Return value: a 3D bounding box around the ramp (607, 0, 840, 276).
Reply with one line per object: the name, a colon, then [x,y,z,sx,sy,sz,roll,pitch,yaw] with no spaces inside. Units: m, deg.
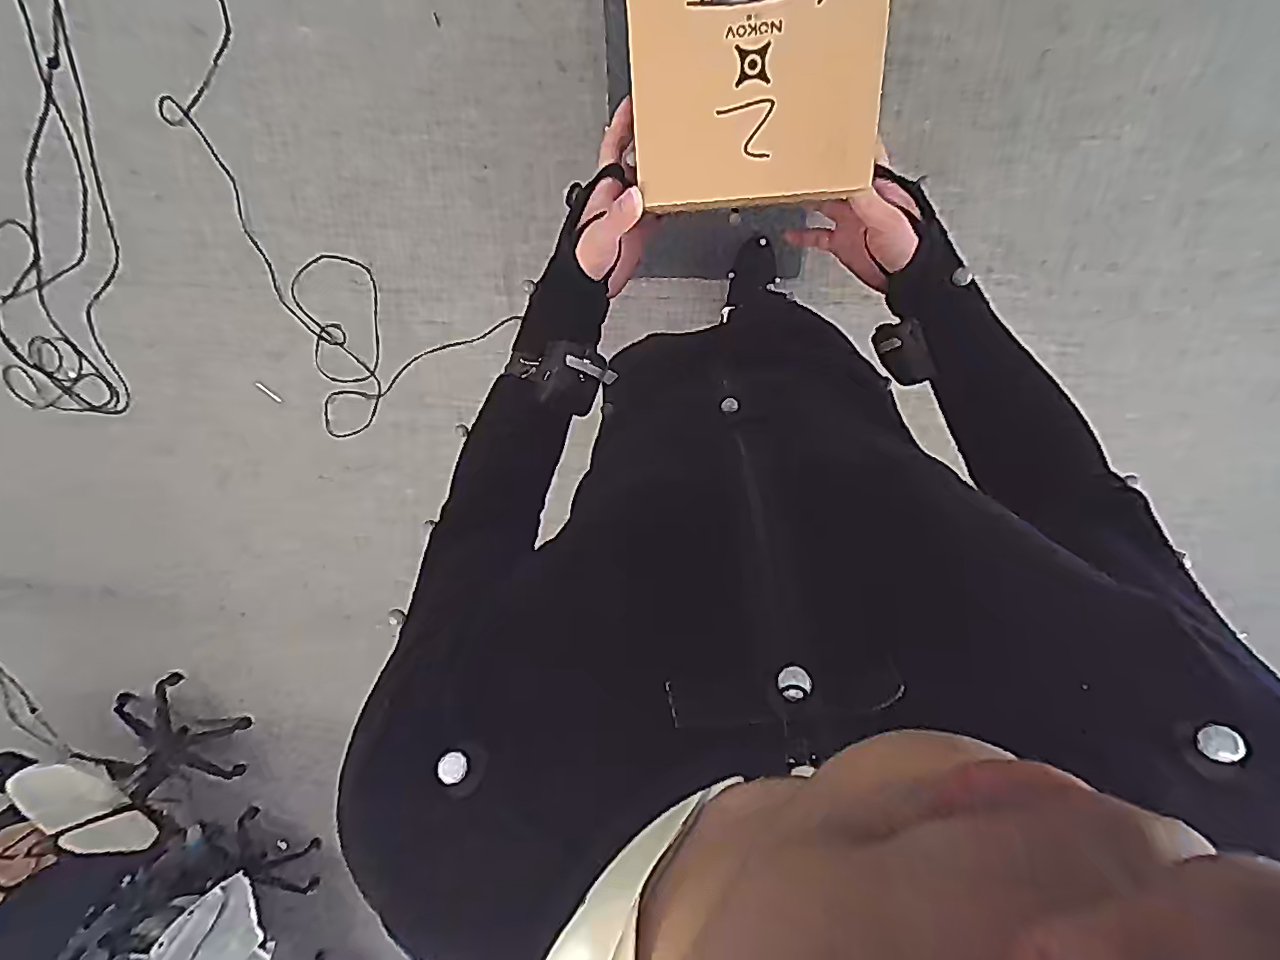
ramp: [0.173,-0.958,1.165,0.509,0.206,0.991,1,115,8]
